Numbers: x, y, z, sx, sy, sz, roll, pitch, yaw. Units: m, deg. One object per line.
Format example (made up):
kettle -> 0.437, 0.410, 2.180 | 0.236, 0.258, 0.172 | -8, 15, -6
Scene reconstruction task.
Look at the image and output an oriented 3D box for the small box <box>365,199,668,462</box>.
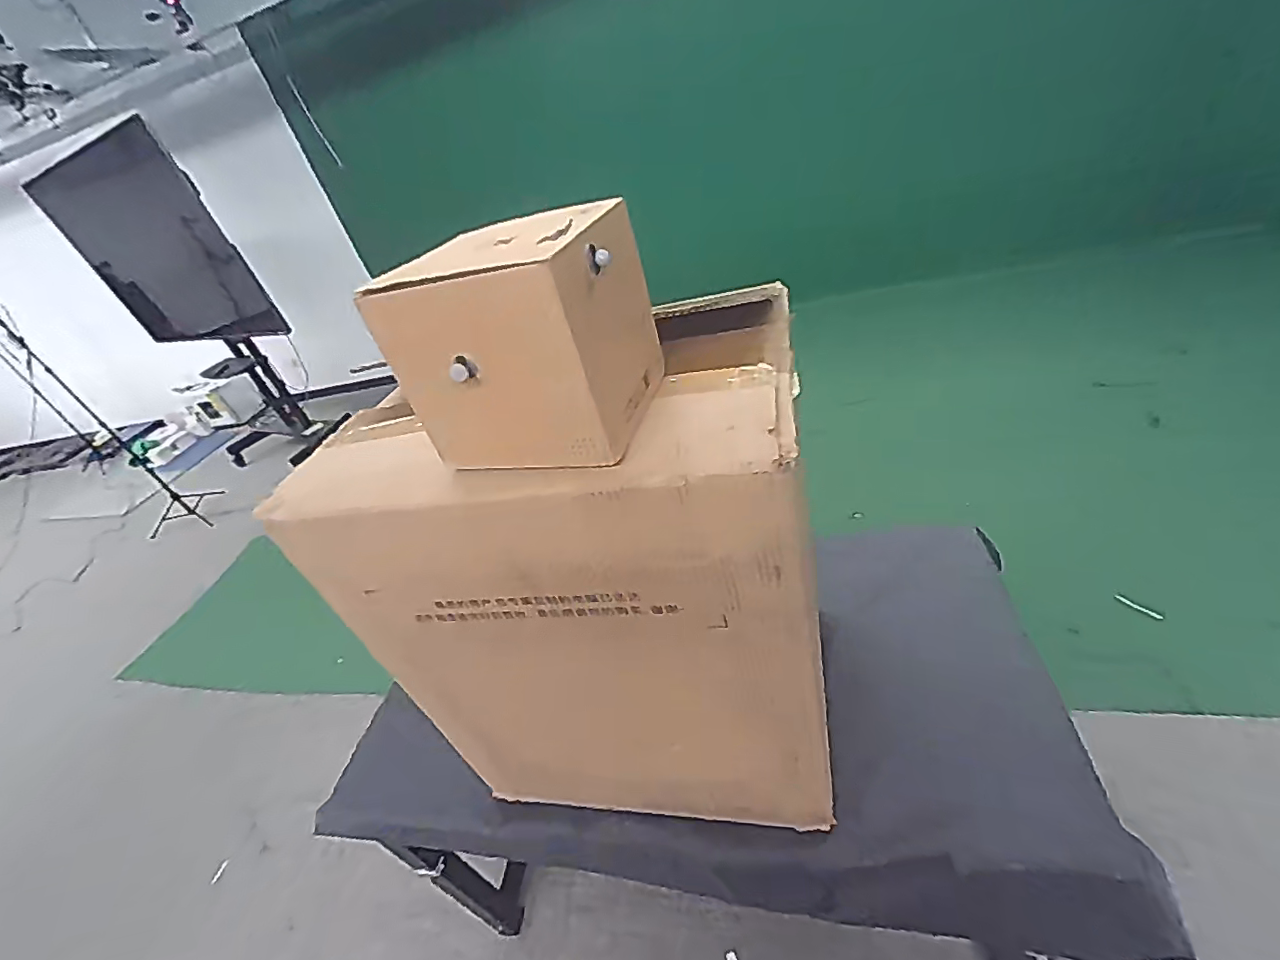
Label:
small box -> -0.091, -0.127, 0.486 | 0.179, 0.176, 0.168 | -1, 39, 22
